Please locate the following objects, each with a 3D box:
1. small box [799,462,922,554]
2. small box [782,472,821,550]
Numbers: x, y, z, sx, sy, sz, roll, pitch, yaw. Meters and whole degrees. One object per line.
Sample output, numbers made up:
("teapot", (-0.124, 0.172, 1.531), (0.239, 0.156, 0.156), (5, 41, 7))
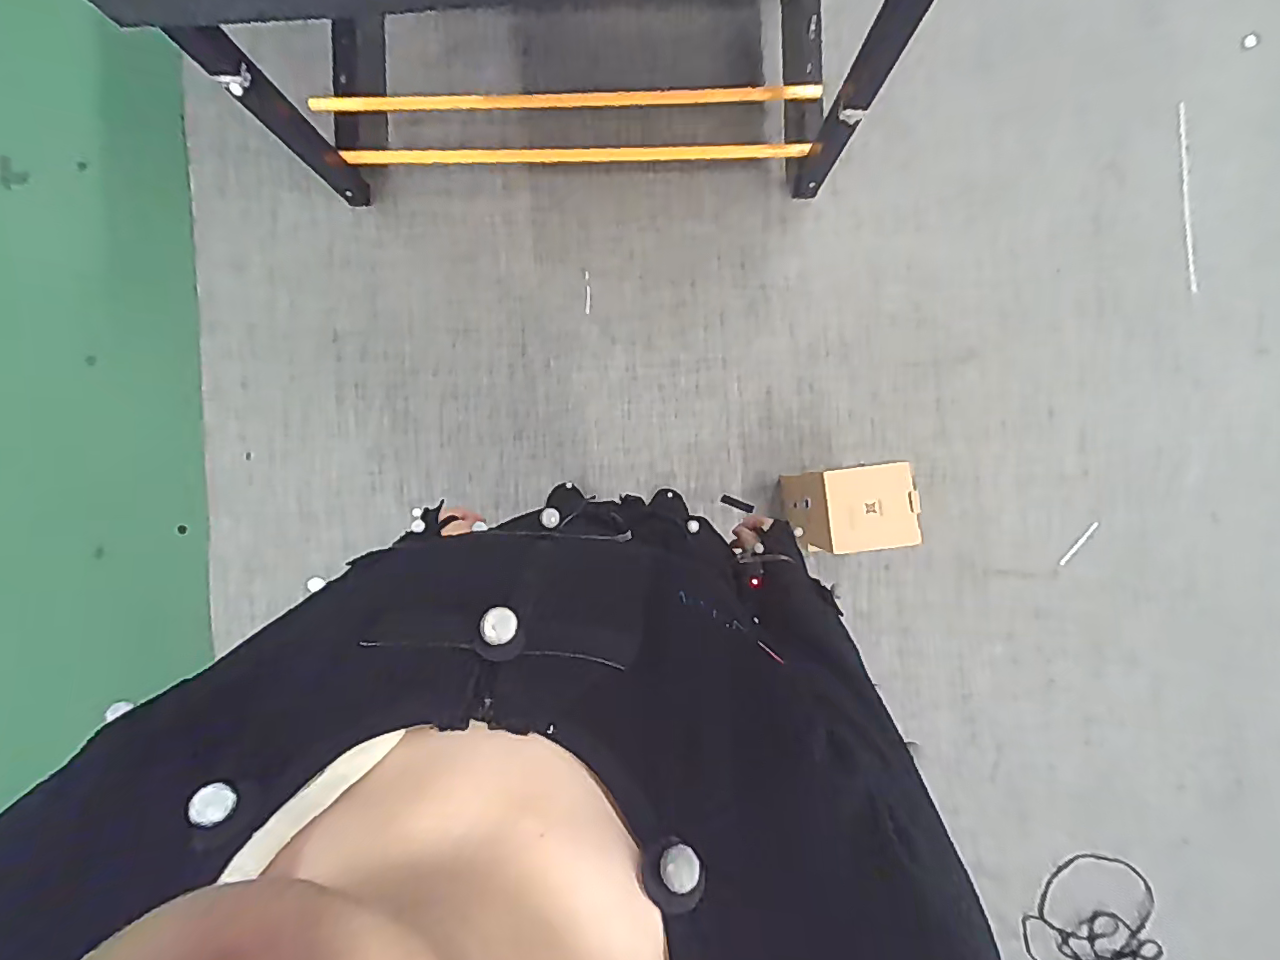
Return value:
("small box", (0.451, 0.054, 1.127), (0.179, 0.176, 0.168), (-8, 89, 1))
("small box", (0.447, 0.065, 1.290), (0.168, 0.176, 0.179), (-7, 89, 0))
